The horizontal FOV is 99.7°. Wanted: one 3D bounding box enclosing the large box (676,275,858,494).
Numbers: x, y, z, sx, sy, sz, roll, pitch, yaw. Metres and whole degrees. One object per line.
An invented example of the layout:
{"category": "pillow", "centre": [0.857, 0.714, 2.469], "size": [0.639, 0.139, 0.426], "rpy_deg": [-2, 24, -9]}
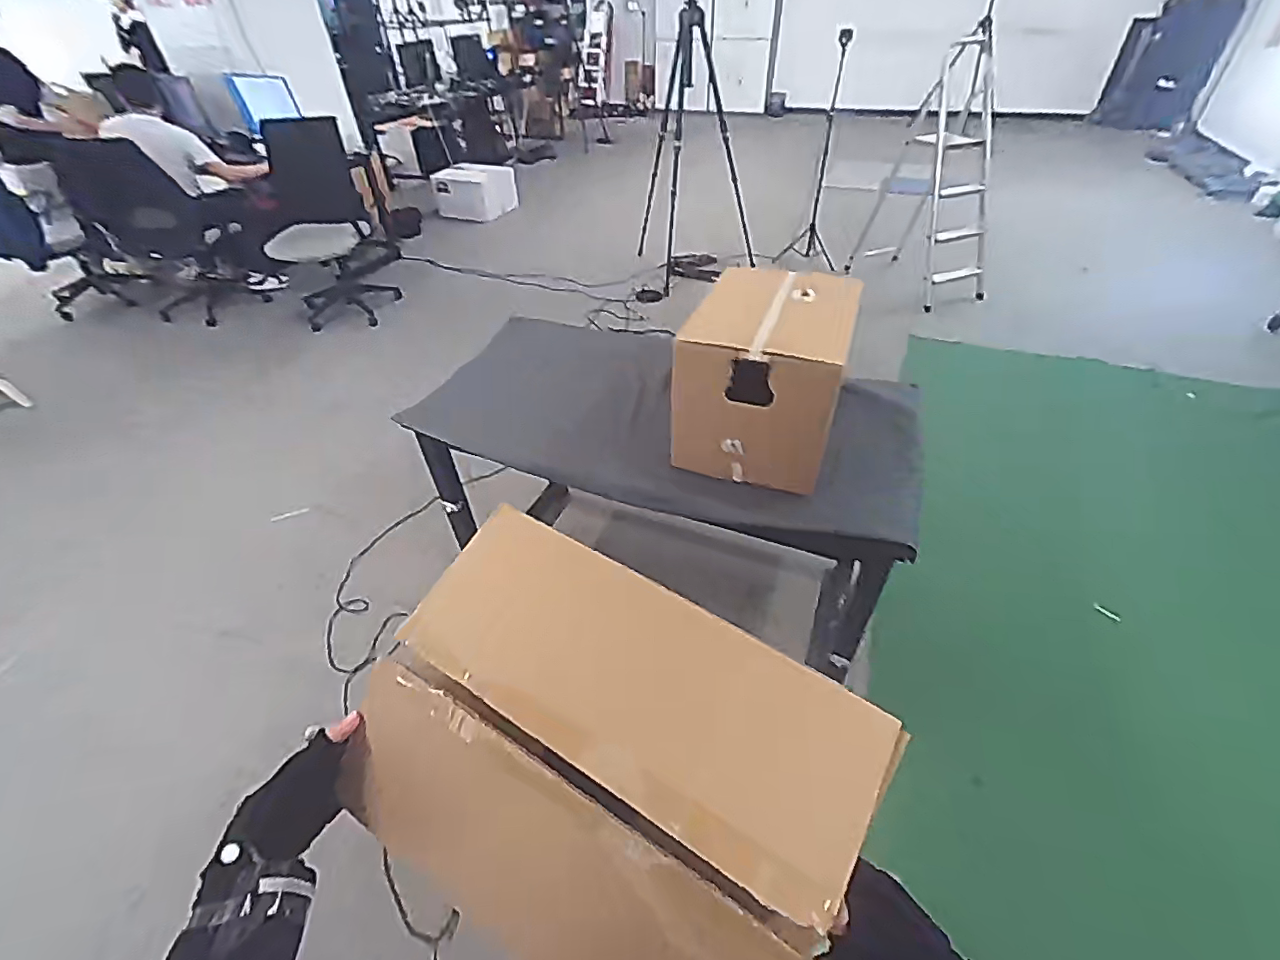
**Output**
{"category": "large box", "centre": [0.282, -0.226, 1.207], "size": [0.320, 0.320, 0.408], "rpy_deg": [13, 42, 17]}
